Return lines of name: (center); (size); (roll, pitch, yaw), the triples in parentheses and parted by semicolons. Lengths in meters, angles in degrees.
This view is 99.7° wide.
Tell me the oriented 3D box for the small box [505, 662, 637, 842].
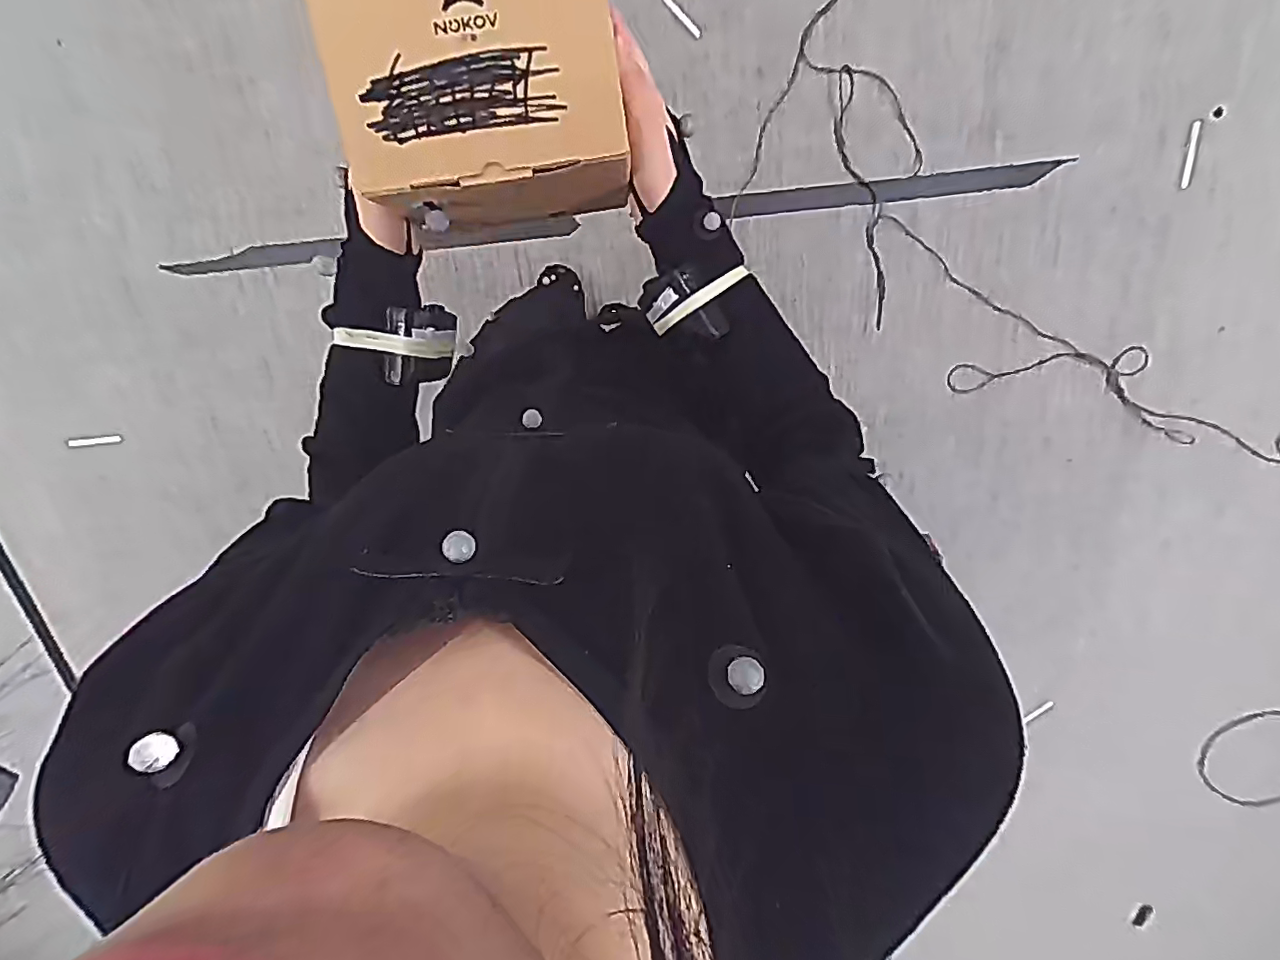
small box: (-0.091, 0.398, 0.807); (0.168, 0.176, 0.179); (-4, 110, 1)
